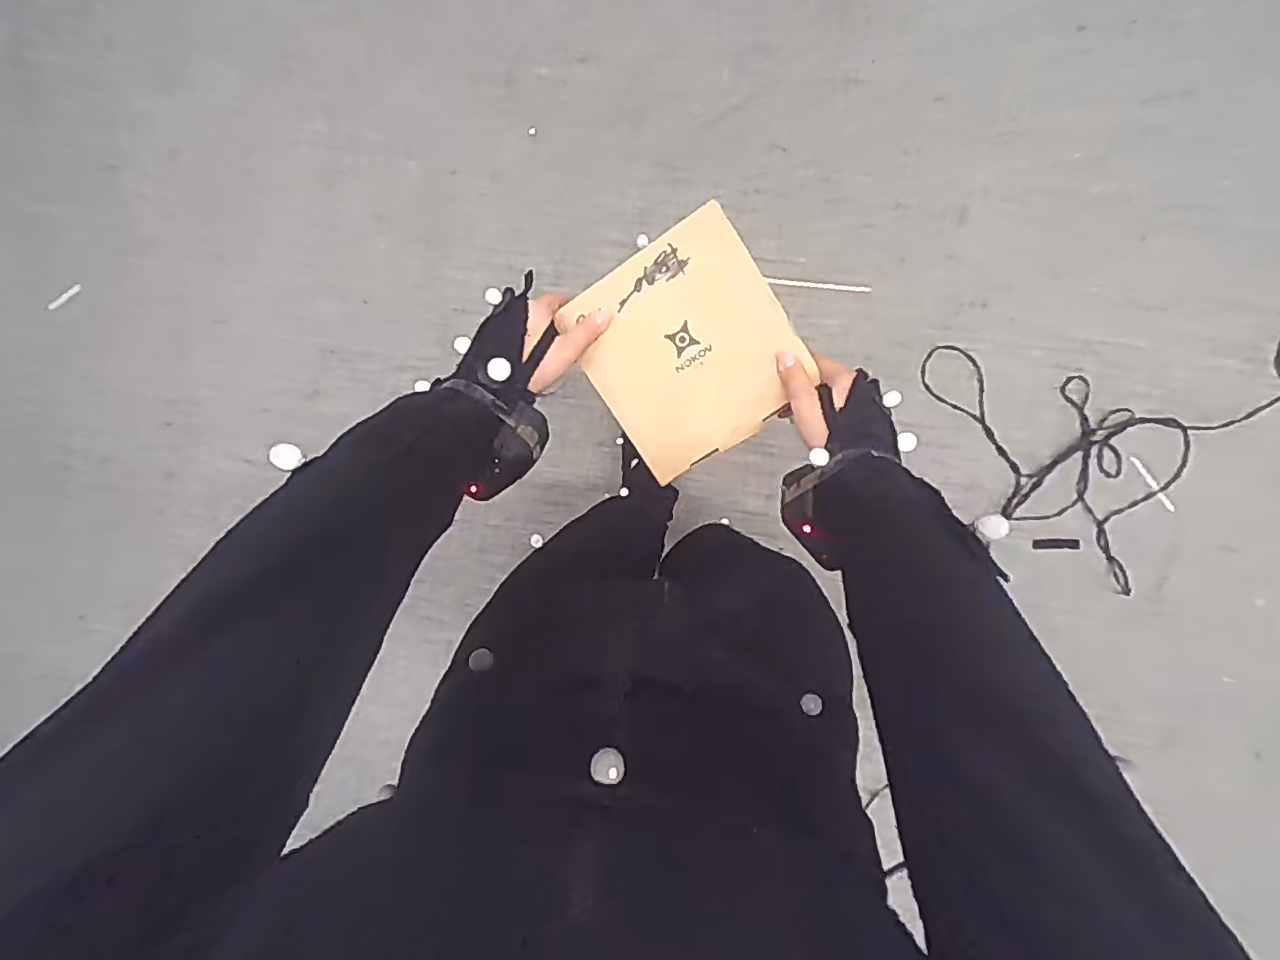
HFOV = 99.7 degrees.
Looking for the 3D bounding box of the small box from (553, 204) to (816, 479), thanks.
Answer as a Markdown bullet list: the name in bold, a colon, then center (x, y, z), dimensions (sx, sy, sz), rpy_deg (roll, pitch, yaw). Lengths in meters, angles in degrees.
- **small box**: center (0.043, -0.129, 0.537), dimensions (0.168, 0.176, 0.179), rpy_deg (-32, 98, 8)
